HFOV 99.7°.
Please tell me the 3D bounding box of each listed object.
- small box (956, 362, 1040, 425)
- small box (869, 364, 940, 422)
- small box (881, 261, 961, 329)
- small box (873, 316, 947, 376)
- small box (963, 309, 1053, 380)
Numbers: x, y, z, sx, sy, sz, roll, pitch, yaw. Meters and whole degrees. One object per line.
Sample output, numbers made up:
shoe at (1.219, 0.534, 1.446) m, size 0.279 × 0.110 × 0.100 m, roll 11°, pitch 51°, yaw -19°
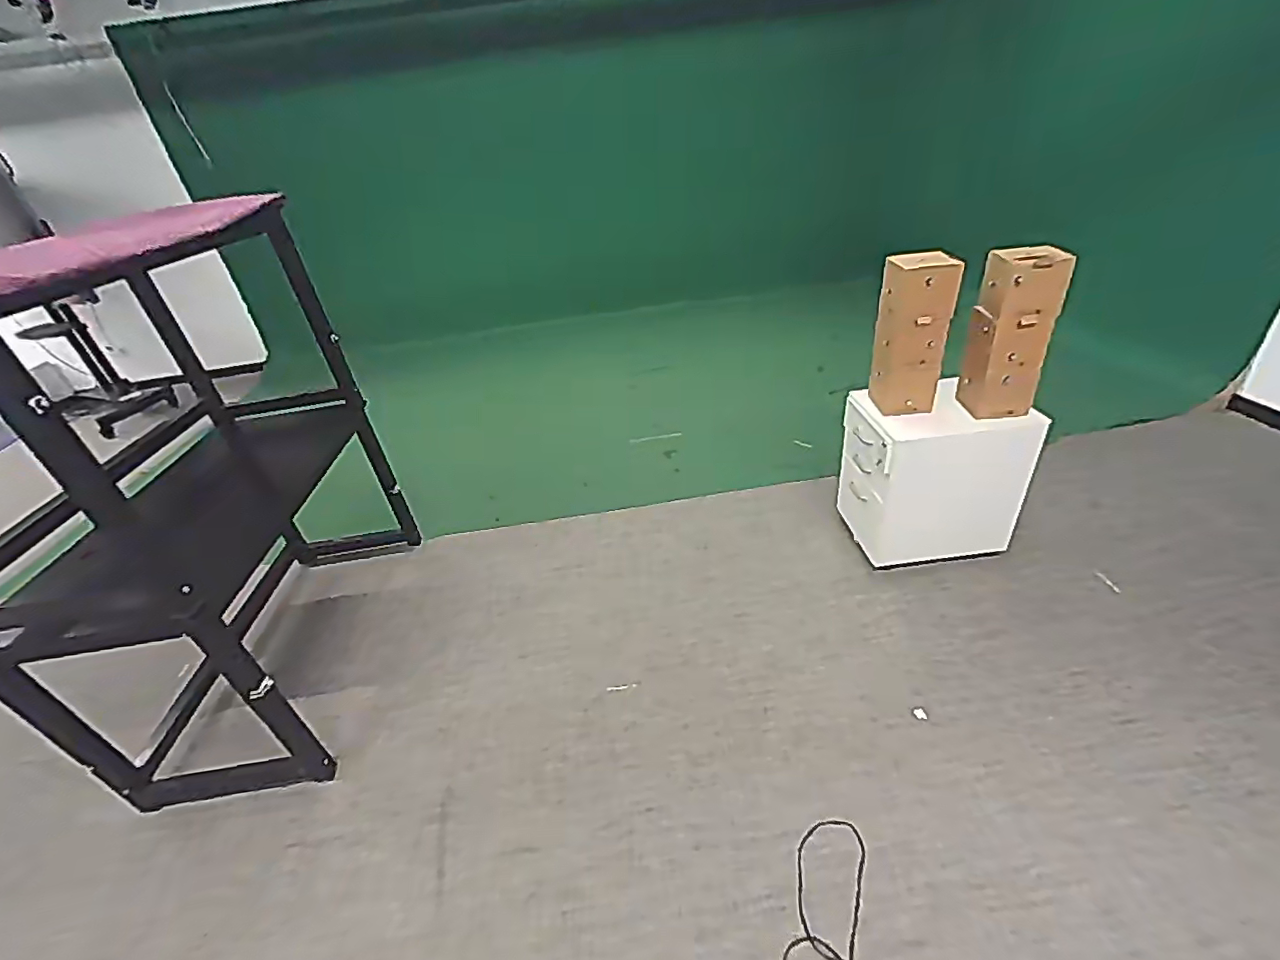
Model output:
small box at (1.195, -0.298, 1.823) m, size 0.168 × 0.176 × 0.179 m, roll -4°, pitch 32°, yaw 7°
small box at (0.927, -0.319, 1.913) m, size 0.168 × 0.176 × 0.179 m, roll -4°, pitch 34°, yaw 5°
small box at (0.892, -0.593, 1.738) m, size 0.179 × 0.176 × 0.168 m, roll -4°, pitch 34°, yaw 3°
small box at (0.906, -0.455, 1.828) m, size 0.168 × 0.176 × 0.179 m, roll -3°, pitch 32°, yaw 4°
small box at (1.172, -0.436, 1.740) m, size 0.168 × 0.176 × 0.179 m, roll -4°, pitch 33°, yaw 6°
